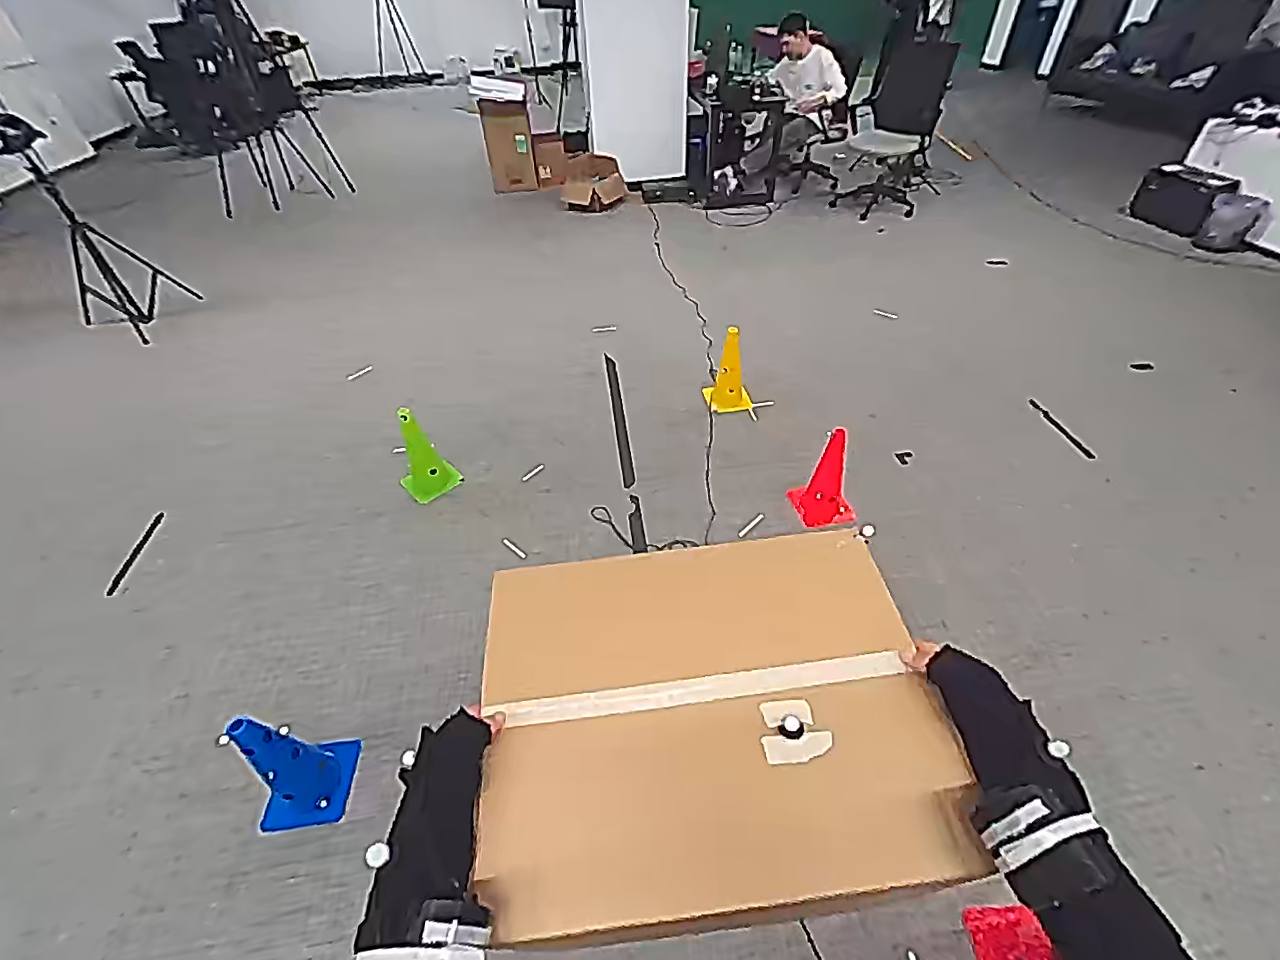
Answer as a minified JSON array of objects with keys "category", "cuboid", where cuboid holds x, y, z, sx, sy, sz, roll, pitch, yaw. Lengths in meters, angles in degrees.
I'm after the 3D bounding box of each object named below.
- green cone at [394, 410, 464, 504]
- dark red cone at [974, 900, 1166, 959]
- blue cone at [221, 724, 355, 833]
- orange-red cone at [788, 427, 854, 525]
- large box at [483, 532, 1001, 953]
[{"category":"green cone","cuboid":[-0.858,-0.120,2.089,0.200,0.368,0.202,32,55,33]},{"category":"dark red cone","cuboid":[0.776,0.831,0.945,0.201,0.394,0.202,-4,43,1]},{"category":"blue cone","cuboid":[-0.852,0.670,1.278,0.192,0.380,0.193,-6,43,-1]},{"category":"orange-red cone","cuboid":[0.667,-0.037,1.907,0.198,0.360,0.199,-8,42,-7]},{"category":"large box","cuboid":[0.068,0.294,0.608,0.408,0.320,0.320,-7,48,-2]}]
